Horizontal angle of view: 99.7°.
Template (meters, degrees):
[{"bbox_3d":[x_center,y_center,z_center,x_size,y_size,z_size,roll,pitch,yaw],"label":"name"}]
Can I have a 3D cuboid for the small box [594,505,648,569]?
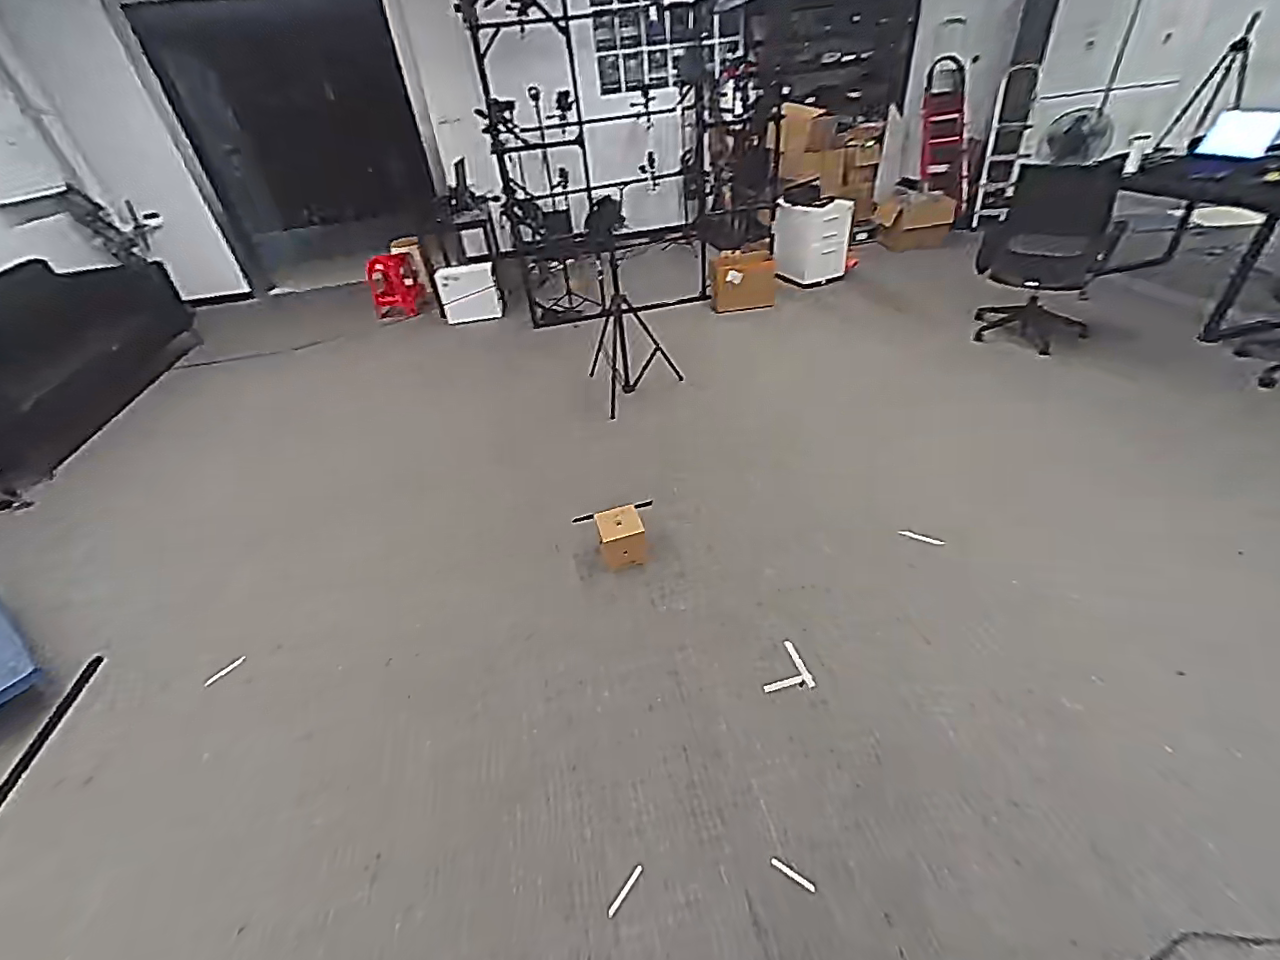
[{"bbox_3d":[-0.073,0.231,2.139,0.168,0.176,0.179,-14,37,-10],"label":"small box"}]
